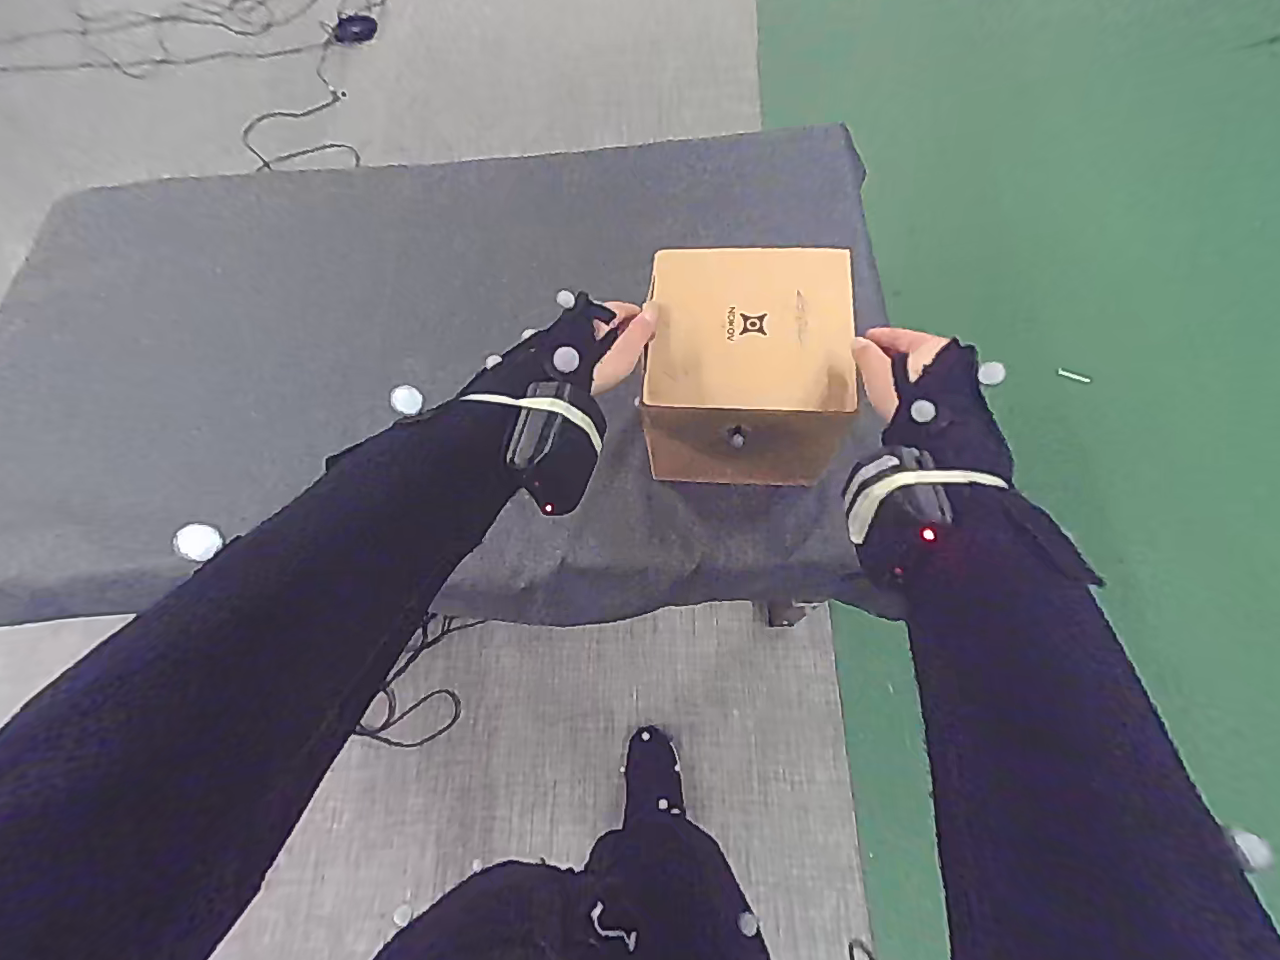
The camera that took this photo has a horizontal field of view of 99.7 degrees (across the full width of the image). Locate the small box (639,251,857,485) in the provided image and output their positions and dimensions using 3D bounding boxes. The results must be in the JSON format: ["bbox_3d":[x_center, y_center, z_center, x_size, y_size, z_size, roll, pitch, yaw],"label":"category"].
[{"bbox_3d":[0.100,-0.100,0.535,0.179,0.176,0.168,3,69,6],"label":"small box"}]
